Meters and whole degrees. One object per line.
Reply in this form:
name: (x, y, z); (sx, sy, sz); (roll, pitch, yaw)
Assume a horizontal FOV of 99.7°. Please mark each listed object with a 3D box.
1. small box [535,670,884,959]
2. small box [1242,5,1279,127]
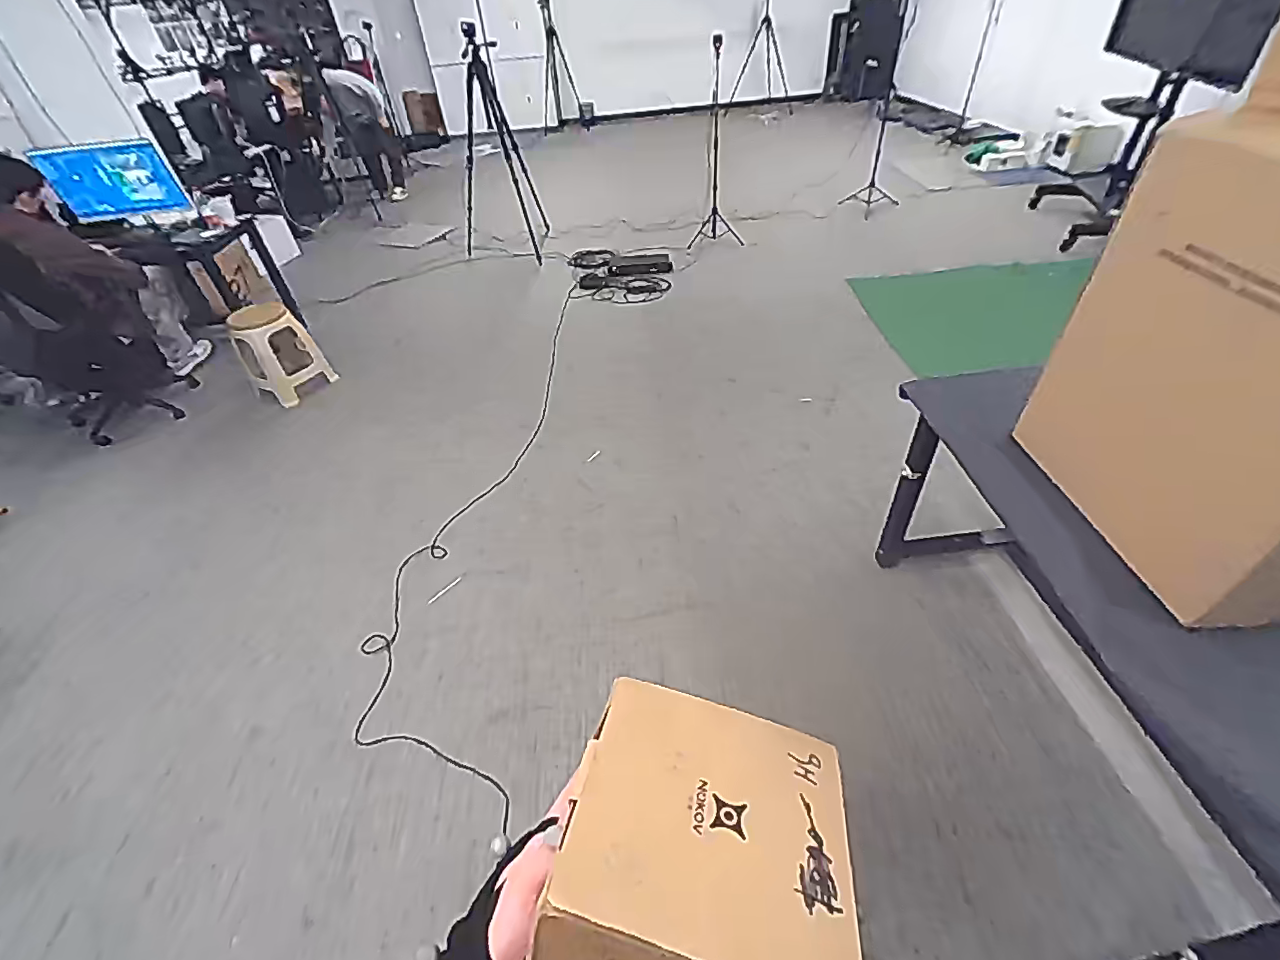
small box: (0.037, 0.270, 0.368); (0.179, 0.176, 0.168); (16, 27, 5)
small box: (1.015, -0.597, 0.749); (0.179, 0.176, 0.168); (-9, 41, 1)
